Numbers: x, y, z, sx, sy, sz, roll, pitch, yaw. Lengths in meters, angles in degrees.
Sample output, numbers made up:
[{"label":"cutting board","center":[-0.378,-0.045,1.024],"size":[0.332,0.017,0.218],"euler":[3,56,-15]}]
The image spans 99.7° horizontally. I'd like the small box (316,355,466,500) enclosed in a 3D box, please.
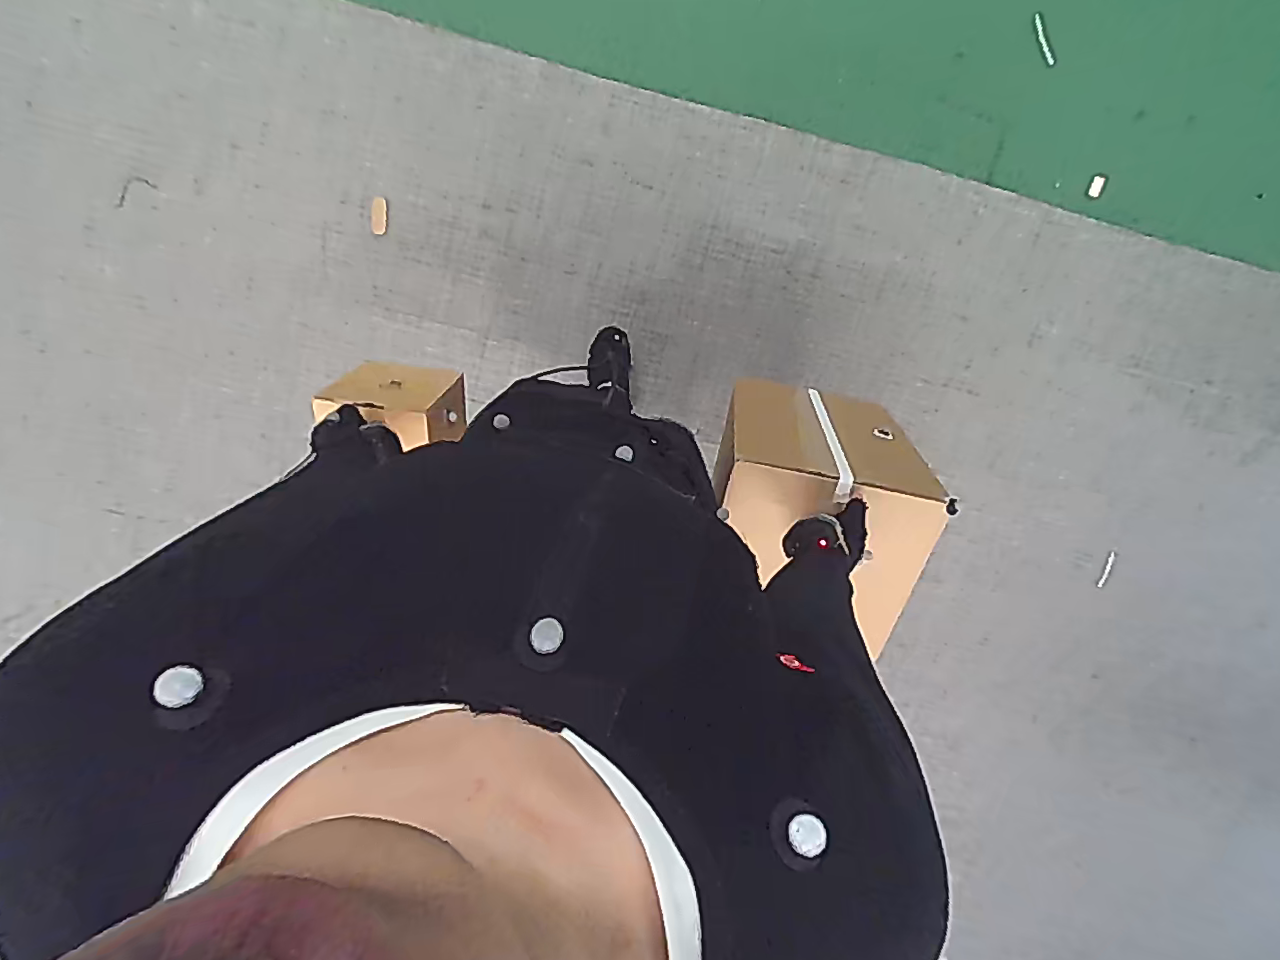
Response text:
[{"label":"small box","center":[-0.393,-0.089,0.889],"size":[0.168,0.179,0.176],"euler":[7,121,-2]}]
